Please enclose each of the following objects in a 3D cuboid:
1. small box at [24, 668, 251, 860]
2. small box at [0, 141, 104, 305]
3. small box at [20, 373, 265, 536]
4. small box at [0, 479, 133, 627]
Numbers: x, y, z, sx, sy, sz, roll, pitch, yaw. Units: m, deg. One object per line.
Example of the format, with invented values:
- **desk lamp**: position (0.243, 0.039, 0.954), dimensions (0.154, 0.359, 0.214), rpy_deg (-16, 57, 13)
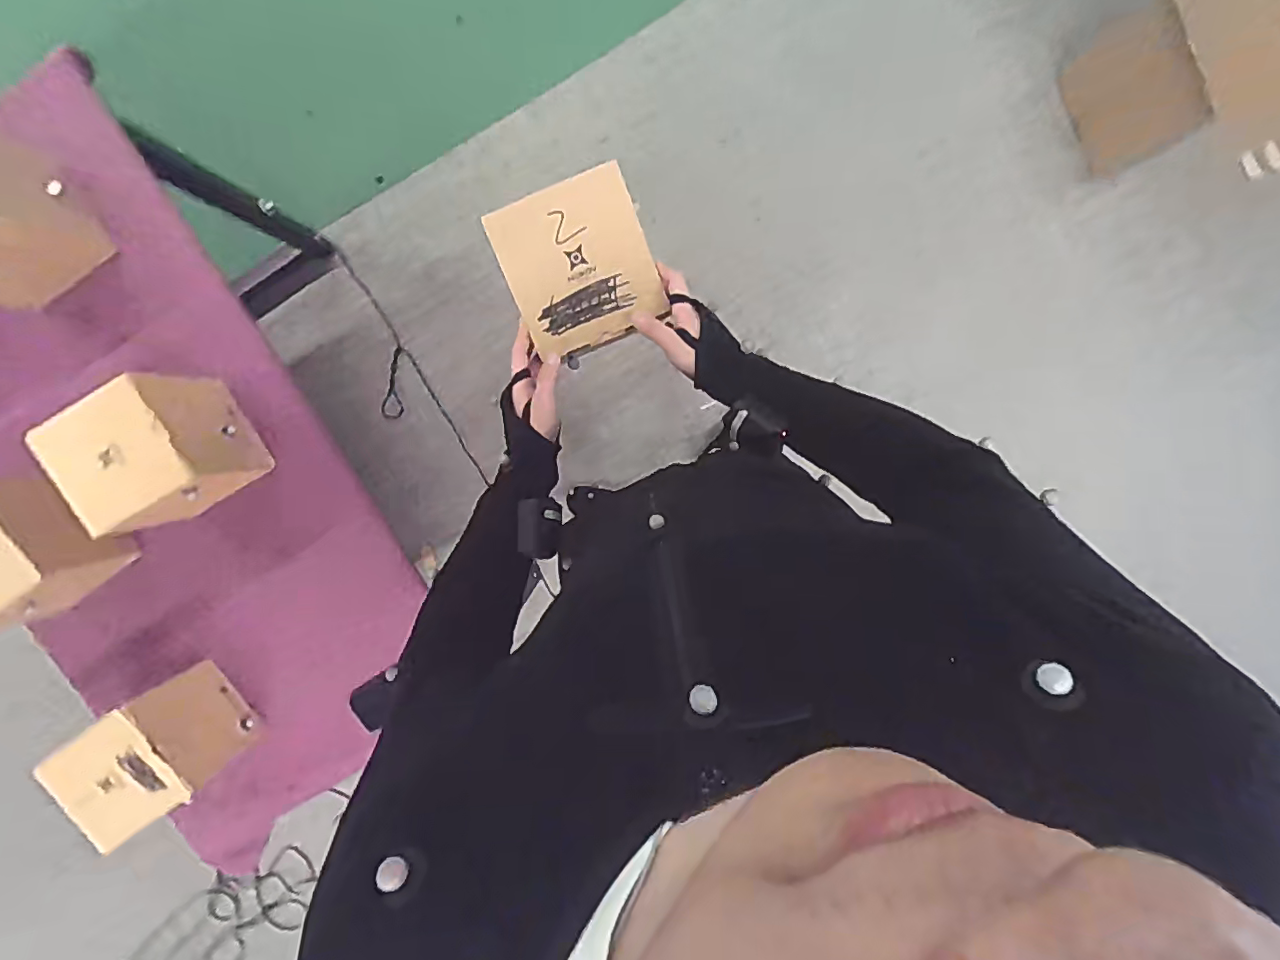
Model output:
- **small box**: position (-0.768, 0.433, 0.856), dimensions (0.179, 0.176, 0.168), rpy_deg (-35, 94, 4)
- **small box**: position (-0.950, -0.375, 0.772), dimensions (0.179, 0.176, 0.168), rpy_deg (-33, 96, 4)
- **small box**: position (-0.724, -0.040, 0.809), dimensions (0.179, 0.176, 0.168), rpy_deg (-30, 95, 4)
- **small box**: position (-0.956, 0.115, 0.826), dimensions (0.179, 0.176, 0.168), rpy_deg (-35, 96, 3)
